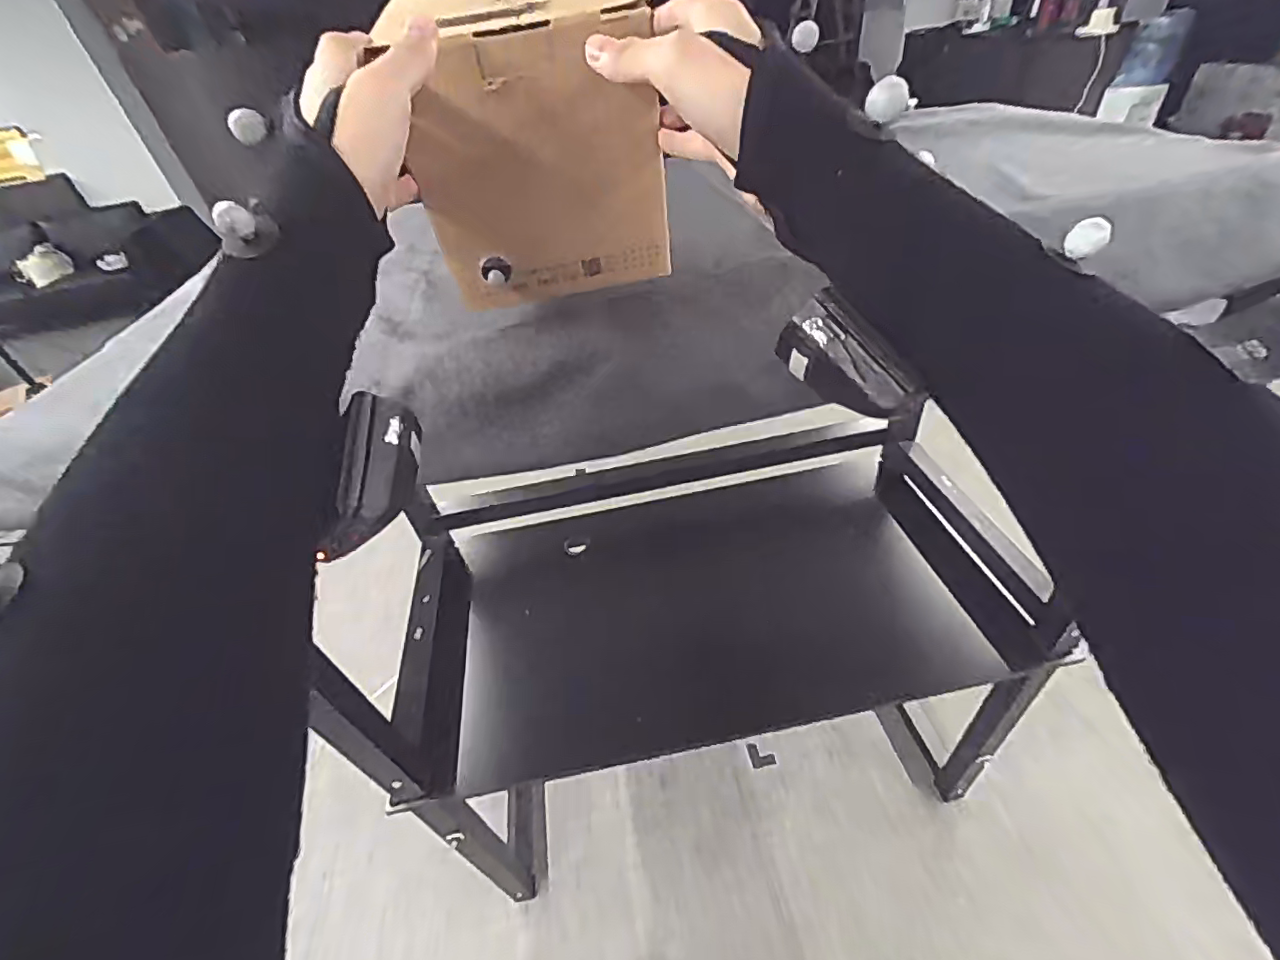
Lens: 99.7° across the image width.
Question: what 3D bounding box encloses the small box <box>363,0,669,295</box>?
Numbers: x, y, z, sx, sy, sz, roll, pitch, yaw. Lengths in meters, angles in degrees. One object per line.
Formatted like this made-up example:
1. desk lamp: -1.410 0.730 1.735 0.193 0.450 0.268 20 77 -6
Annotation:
1. small box: -0.077 -0.257 0.408 0.168 0.176 0.179 -12 50 -2
